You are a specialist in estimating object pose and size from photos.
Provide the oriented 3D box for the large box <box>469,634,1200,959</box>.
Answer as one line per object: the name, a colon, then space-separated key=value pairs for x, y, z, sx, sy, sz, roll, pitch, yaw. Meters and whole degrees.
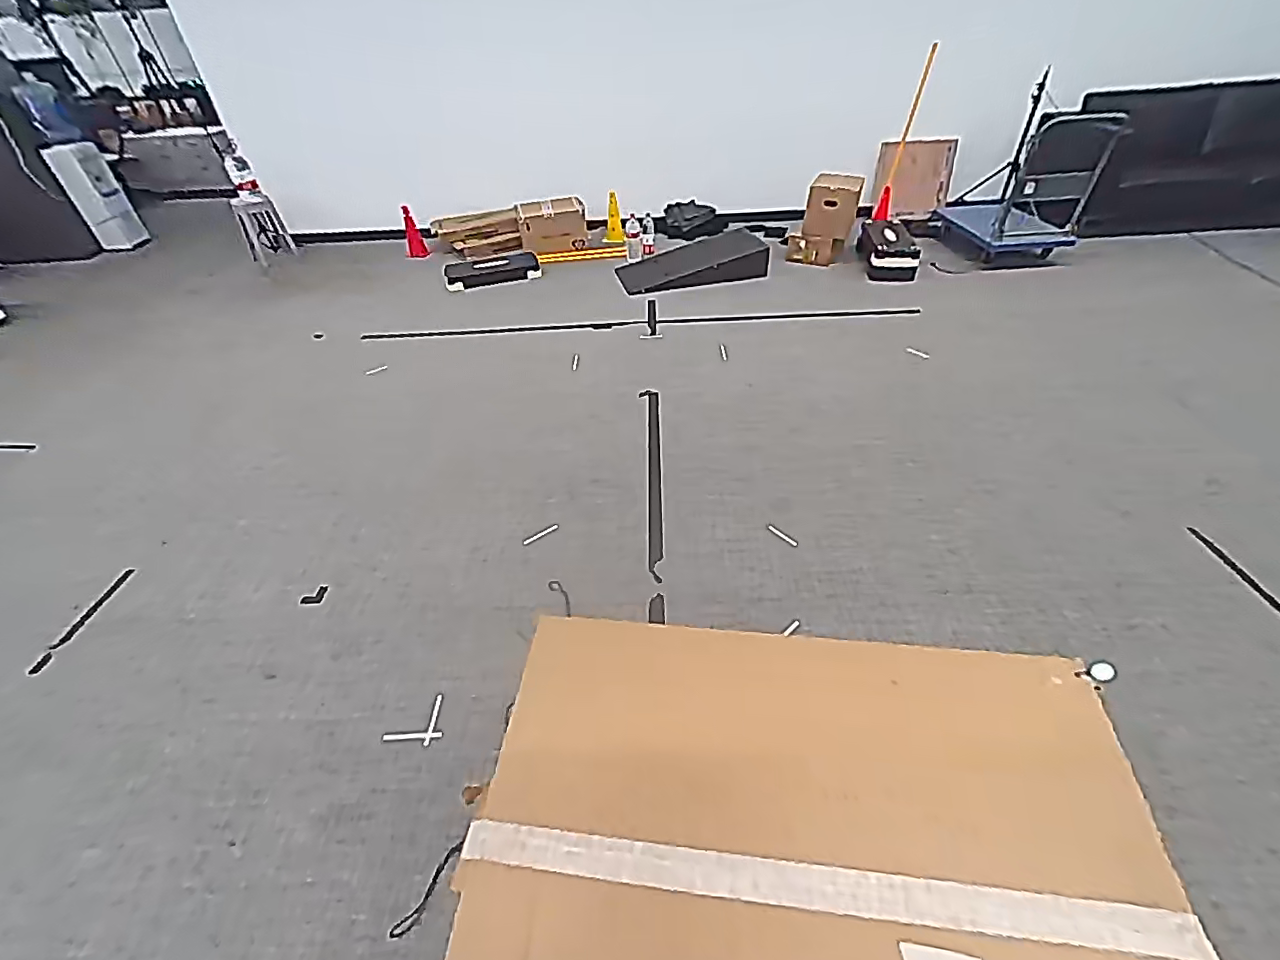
large box: x=0.111 y=0.346 z=0.426 sx=0.408 sy=0.320 sz=0.320 roll=3 pitch=48 yaw=7
